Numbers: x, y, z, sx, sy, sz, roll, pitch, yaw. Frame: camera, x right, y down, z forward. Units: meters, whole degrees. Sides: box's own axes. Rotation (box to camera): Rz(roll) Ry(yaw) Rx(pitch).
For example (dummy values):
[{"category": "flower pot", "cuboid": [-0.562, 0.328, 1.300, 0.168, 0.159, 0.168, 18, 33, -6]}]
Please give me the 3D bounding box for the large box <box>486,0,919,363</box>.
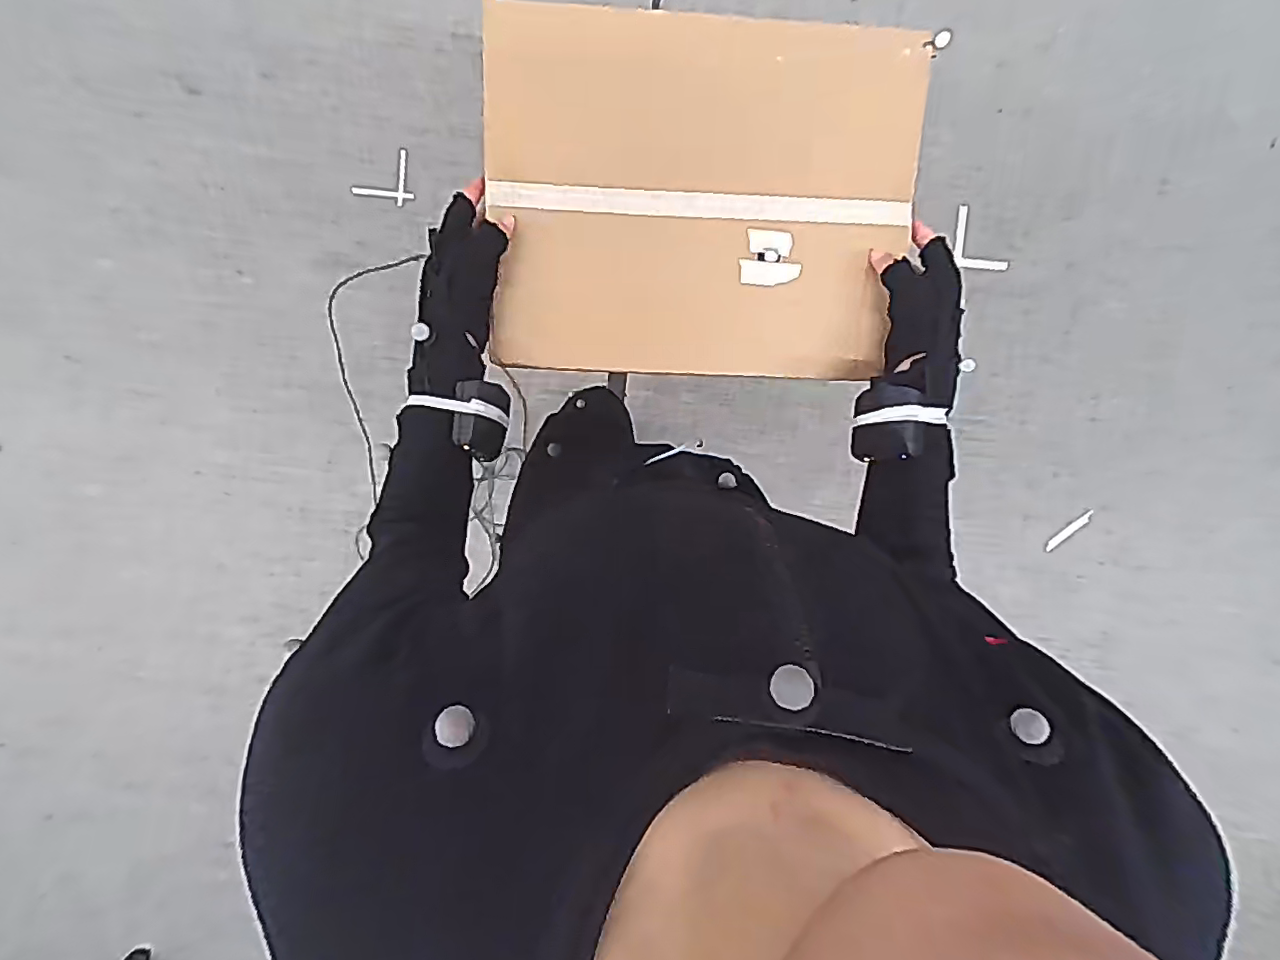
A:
[{"category": "large box", "cuboid": [0.047, -0.307, 0.663, 0.408, 0.320, 0.320, 2, 103, -4]}]
